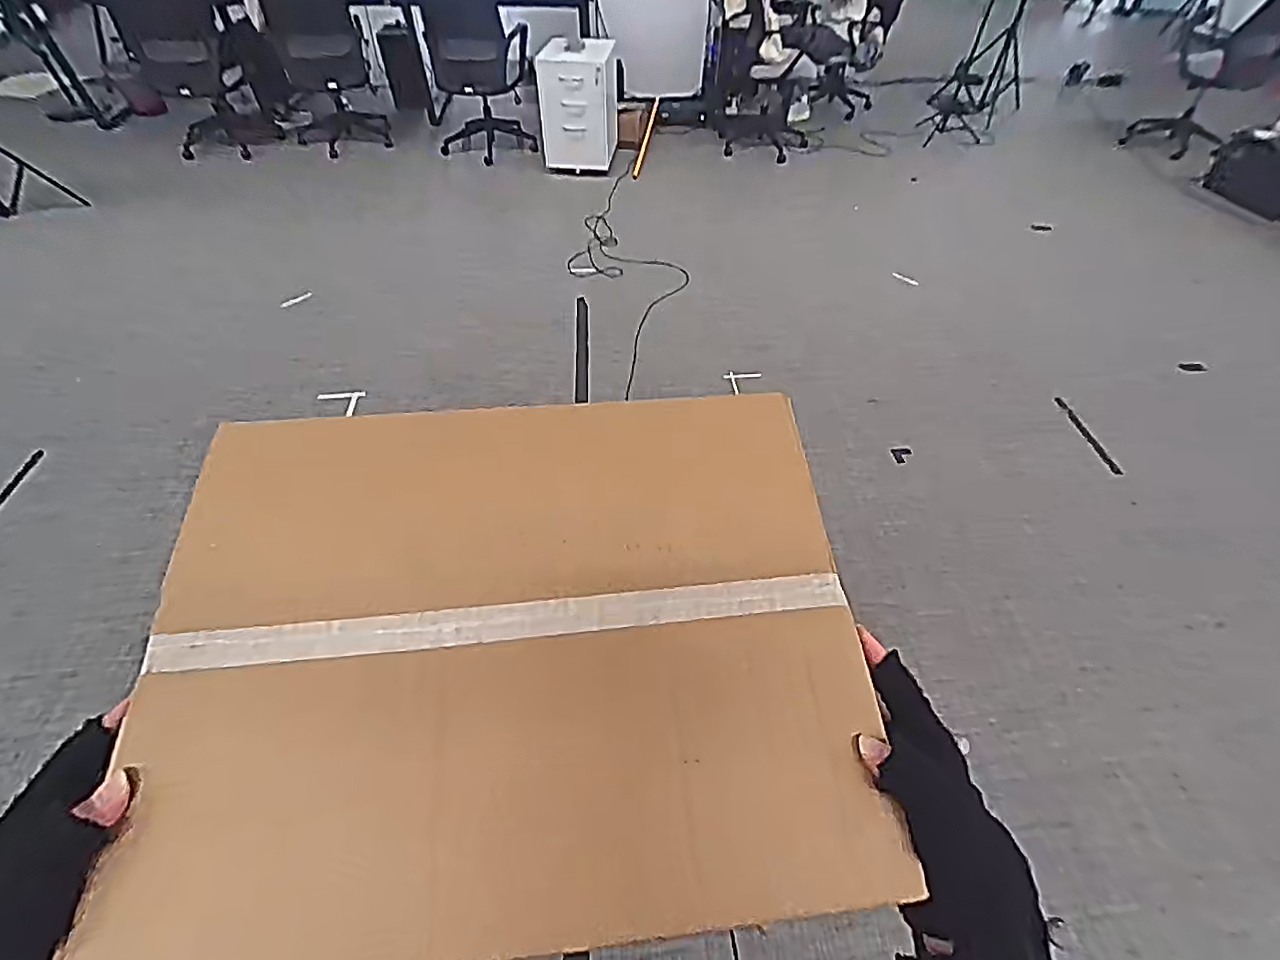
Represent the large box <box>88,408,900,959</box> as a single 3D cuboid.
[{"bbox_3d":[-0.081,0.164,0.460,0.408,0.320,0.320,-4,62,-5],"label":"large box"}]
